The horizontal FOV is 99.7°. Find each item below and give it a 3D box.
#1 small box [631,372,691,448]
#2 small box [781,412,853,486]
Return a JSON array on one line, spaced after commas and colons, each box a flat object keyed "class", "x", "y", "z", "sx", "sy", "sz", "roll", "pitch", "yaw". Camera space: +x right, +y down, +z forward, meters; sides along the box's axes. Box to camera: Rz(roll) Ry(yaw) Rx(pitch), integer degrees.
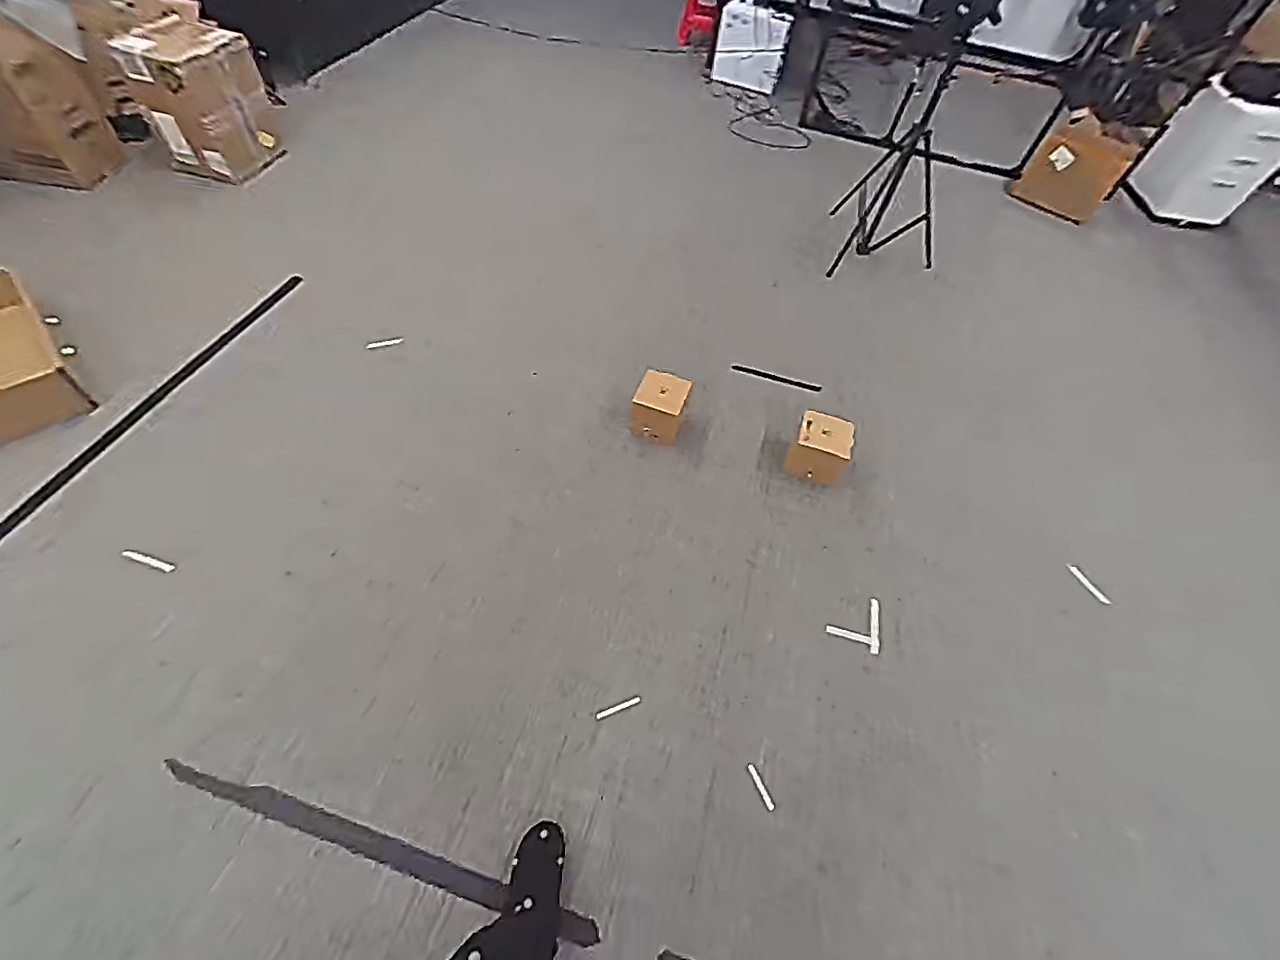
[{"class": "small box", "x": 0.070, "y": -0.247, "z": 1.915, "sx": 0.168, "sy": 0.176, "sz": 0.179, "roll": 18, "pitch": 56, "yaw": 8}, {"class": "small box", "x": 0.613, "y": -0.102, "z": 1.876, "sx": 0.179, "sy": 0.176, "sz": 0.168, "roll": 20, "pitch": 55, "yaw": 6}]
